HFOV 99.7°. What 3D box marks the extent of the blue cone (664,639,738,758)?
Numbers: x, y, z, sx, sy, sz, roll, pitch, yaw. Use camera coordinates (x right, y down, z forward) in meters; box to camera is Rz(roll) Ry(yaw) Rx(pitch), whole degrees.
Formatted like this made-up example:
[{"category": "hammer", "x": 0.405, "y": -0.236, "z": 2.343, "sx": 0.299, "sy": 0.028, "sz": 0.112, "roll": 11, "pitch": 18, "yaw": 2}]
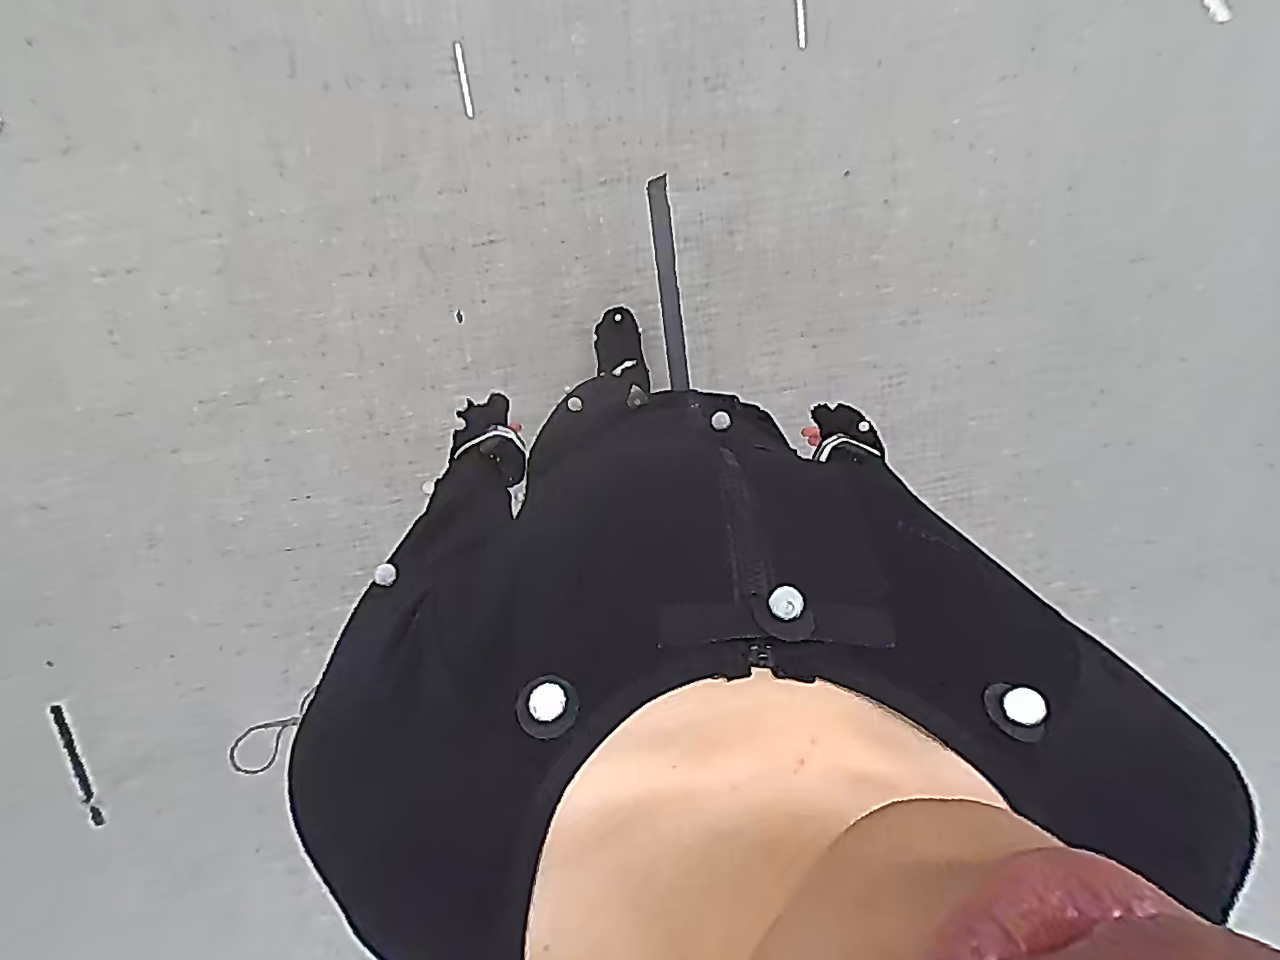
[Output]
[{"category": "blue cone", "x": 0.184, "y": 0.590, "z": 1.430, "sx": 0.192, "sy": 0.380, "sz": 0.193, "roll": 7, "pitch": 101, "yaw": -6}]
